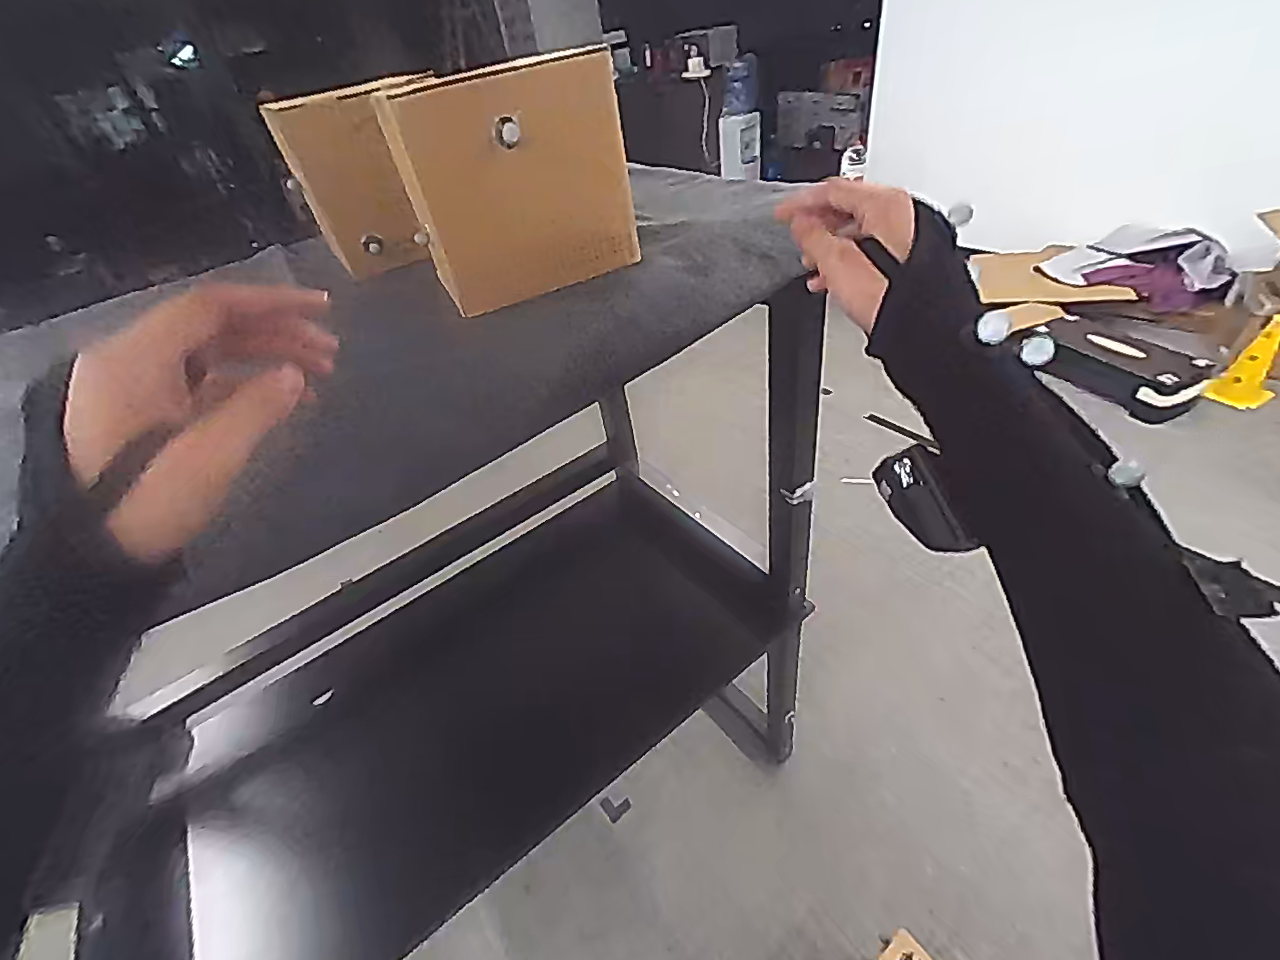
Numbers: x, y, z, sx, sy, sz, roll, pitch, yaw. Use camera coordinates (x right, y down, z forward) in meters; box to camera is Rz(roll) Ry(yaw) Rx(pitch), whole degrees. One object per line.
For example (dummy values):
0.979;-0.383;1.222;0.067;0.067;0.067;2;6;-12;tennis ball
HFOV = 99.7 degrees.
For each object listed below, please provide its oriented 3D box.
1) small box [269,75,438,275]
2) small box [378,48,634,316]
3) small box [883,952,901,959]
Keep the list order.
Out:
-0.309;-0.365;0.652;0.168;0.176;0.179;-29;43;-19;small box
-0.116;-0.278;0.505;0.179;0.176;0.168;-24;40;-13;small box
0.497;1.080;1.050;0.179;0.176;0.168;-33;45;-23;small box
